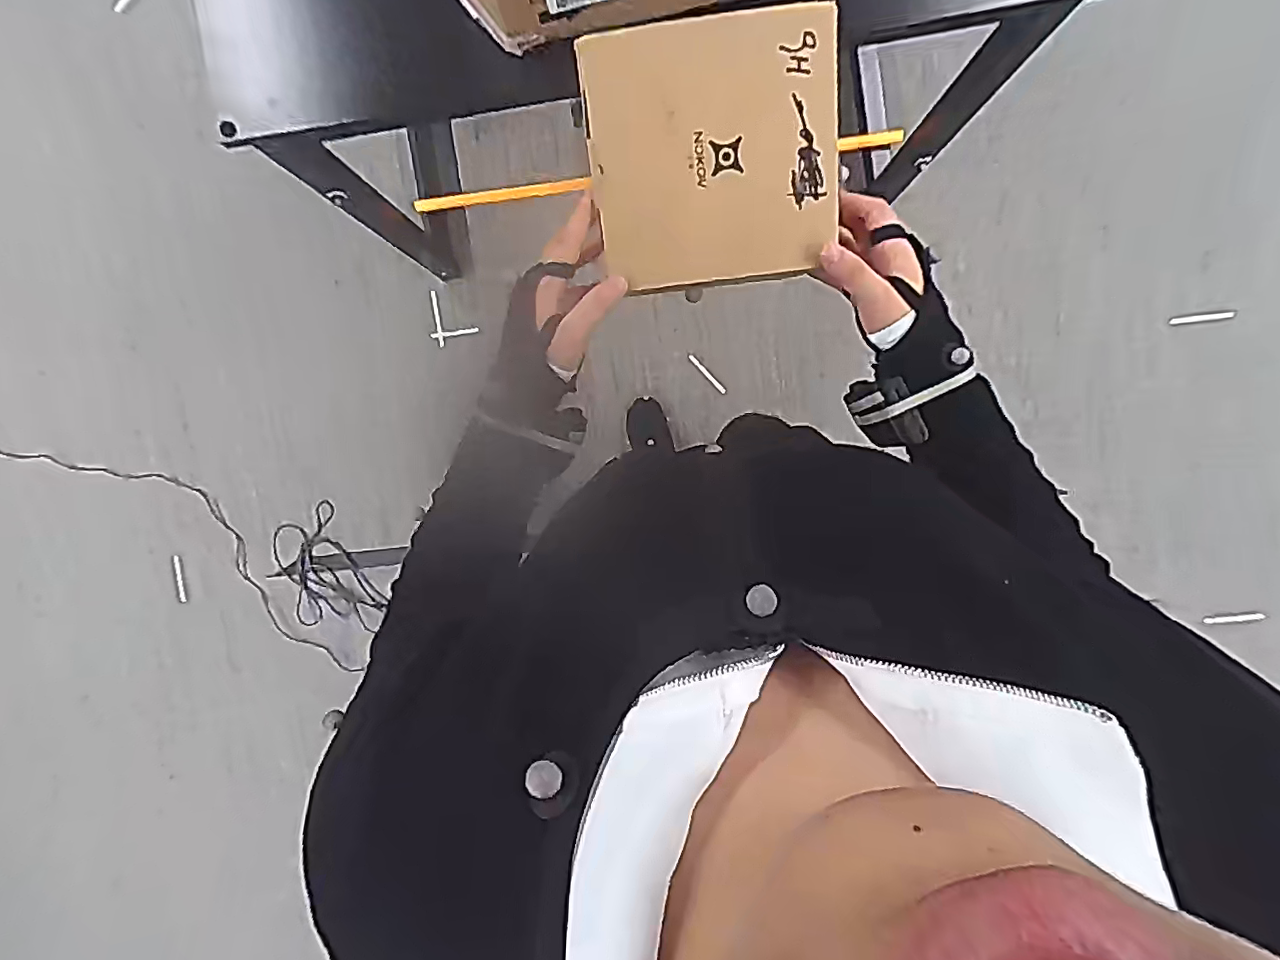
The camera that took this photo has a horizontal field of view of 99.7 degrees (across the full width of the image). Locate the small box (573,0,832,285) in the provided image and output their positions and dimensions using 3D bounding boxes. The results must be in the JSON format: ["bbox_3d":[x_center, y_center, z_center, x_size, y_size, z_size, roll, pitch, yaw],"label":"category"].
[{"bbox_3d":[0.050,-0.264,0.460,0.179,0.176,0.168,-6,107,2],"label":"small box"}]
